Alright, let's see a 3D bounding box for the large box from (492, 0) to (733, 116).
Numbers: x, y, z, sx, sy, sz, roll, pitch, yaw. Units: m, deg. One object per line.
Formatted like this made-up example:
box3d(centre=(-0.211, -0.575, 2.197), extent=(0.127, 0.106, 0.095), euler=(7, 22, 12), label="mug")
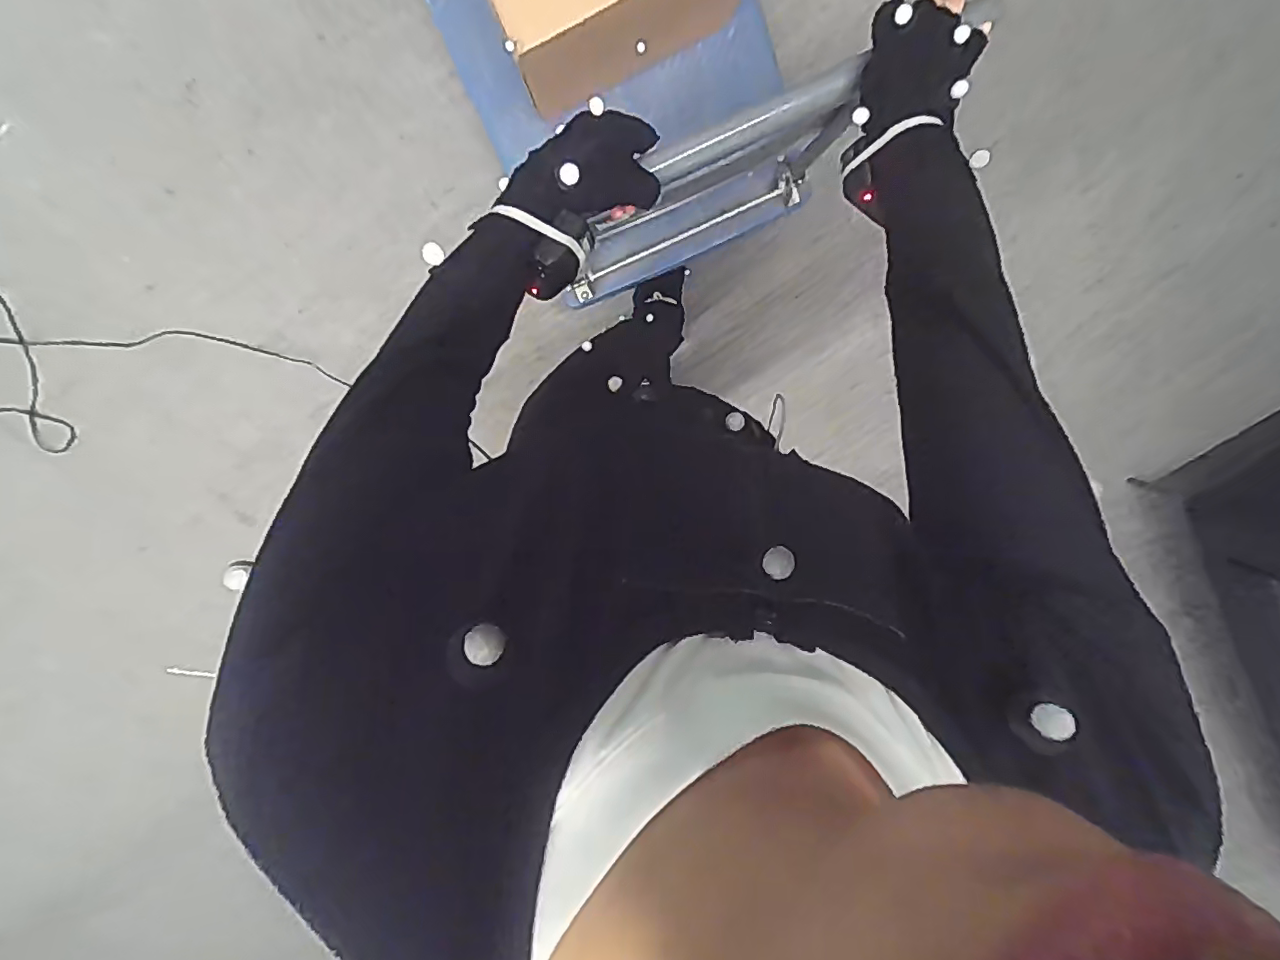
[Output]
box3d(centre=(-0.064, -0.883, 0.873), extent=(0.408, 0.320, 0.320), euler=(-25, 107, 6), label="large box")
